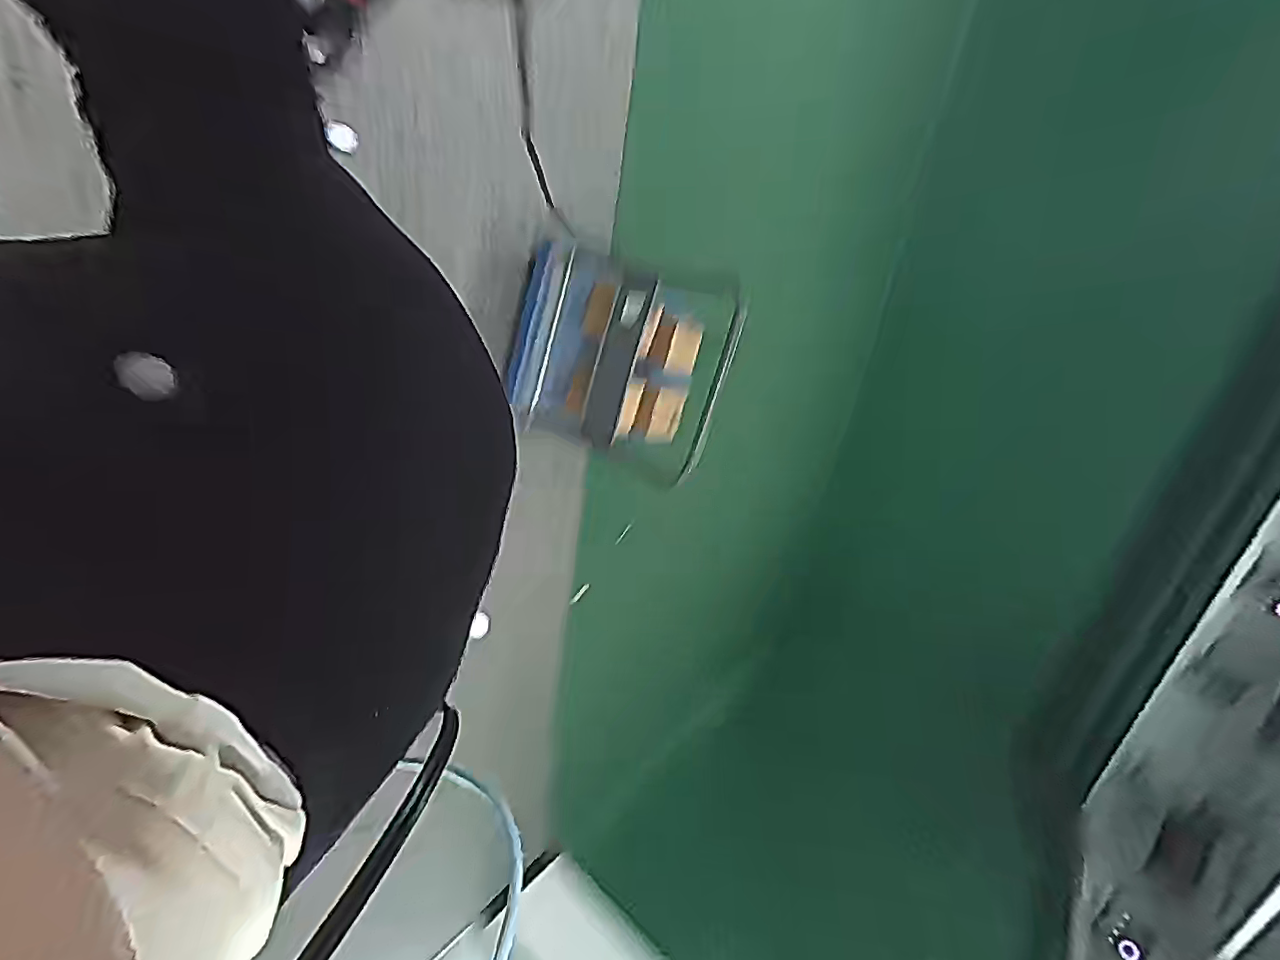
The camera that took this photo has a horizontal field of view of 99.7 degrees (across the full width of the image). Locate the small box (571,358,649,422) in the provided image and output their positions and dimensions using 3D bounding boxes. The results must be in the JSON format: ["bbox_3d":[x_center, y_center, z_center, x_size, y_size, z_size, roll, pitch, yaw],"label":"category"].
[{"bbox_3d":[-0.103,-0.305,1.832,0.179,0.176,0.168,1,109,-52],"label":"small box"}]

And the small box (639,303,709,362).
[{"bbox_3d":[0.121,-0.541,1.978,0.179,0.176,0.168,-6,115,-51],"label":"small box"}]

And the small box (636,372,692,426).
[{"bbox_3d":[0.064,-0.306,2.046,0.179,0.176,0.168,-5,114,-50],"label":"small box"}]
